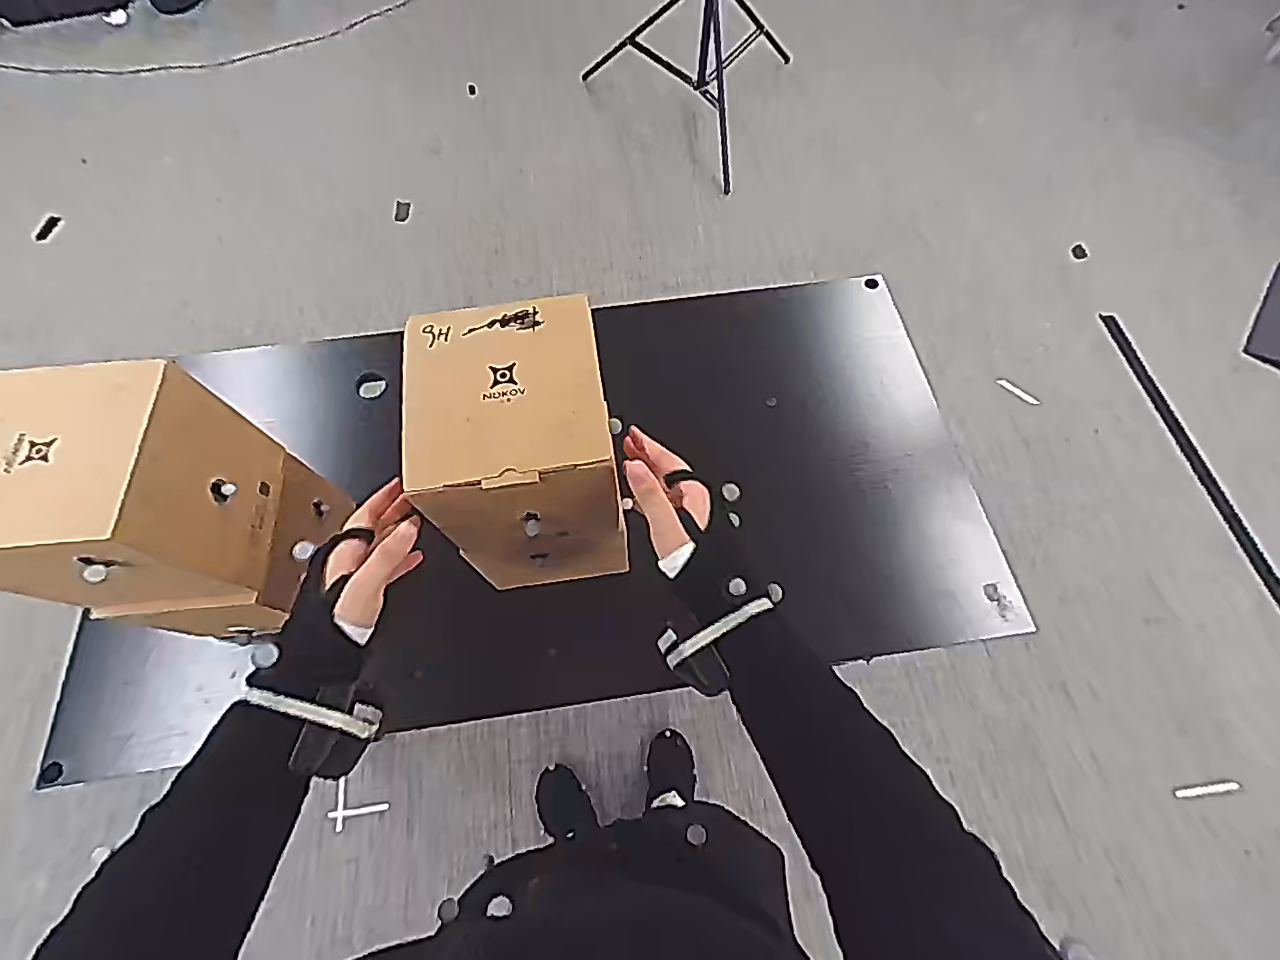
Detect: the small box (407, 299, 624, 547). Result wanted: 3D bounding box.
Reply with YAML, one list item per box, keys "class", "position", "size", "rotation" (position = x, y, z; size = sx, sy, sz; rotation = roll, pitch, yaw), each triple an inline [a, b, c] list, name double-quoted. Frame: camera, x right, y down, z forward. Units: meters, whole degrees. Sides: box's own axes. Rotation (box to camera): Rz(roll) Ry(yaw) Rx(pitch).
- class: "small box"
  position: [-0.110, -0.042, 0.525]
  size: [0.168, 0.176, 0.179]
  rotation: [-9, 68, -3]

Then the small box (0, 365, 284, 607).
- class: "small box"
  position: [-0.473, 0.015, 0.501]
  size: [0.179, 0.176, 0.168]
  rotation: [-5, 66, -1]

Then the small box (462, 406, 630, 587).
- class: "small box"
  position: [-0.109, 0.027, 0.672]
  size: [0.179, 0.176, 0.168]
  rotation: [-8, 67, -4]

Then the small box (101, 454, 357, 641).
- class: "small box"
  position: [-0.466, 0.088, 0.650]
  size: [0.168, 0.176, 0.179]
  rotation: [-5, 67, -1]
